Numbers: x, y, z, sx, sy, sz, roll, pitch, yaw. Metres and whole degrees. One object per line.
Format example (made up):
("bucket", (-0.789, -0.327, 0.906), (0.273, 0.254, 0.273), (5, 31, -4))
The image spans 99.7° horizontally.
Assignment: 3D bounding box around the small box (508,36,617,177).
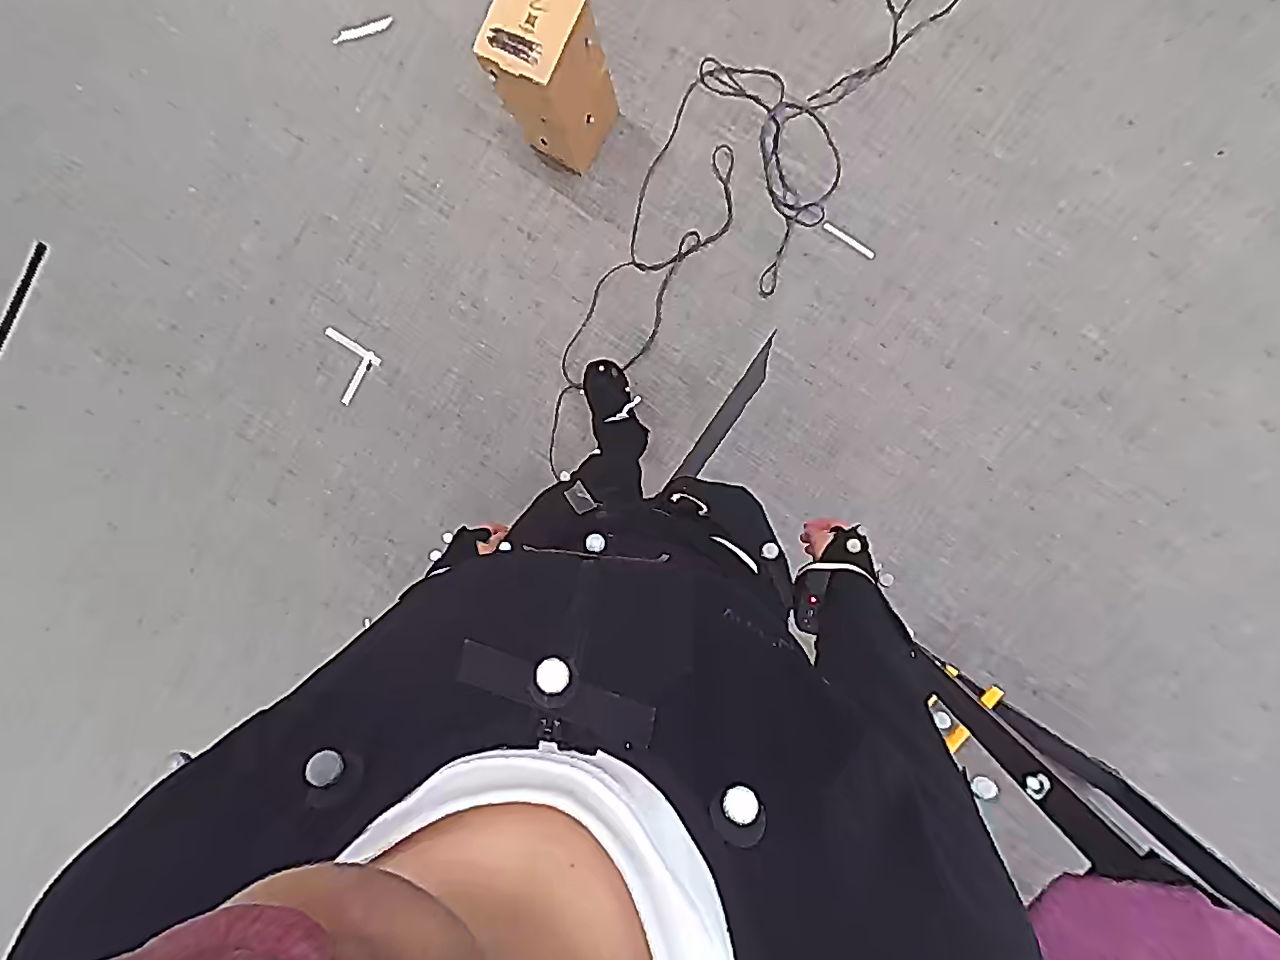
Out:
("small box", (-0.168, -0.849, 1.250), (0.168, 0.176, 0.179), (33, 97, 4))
